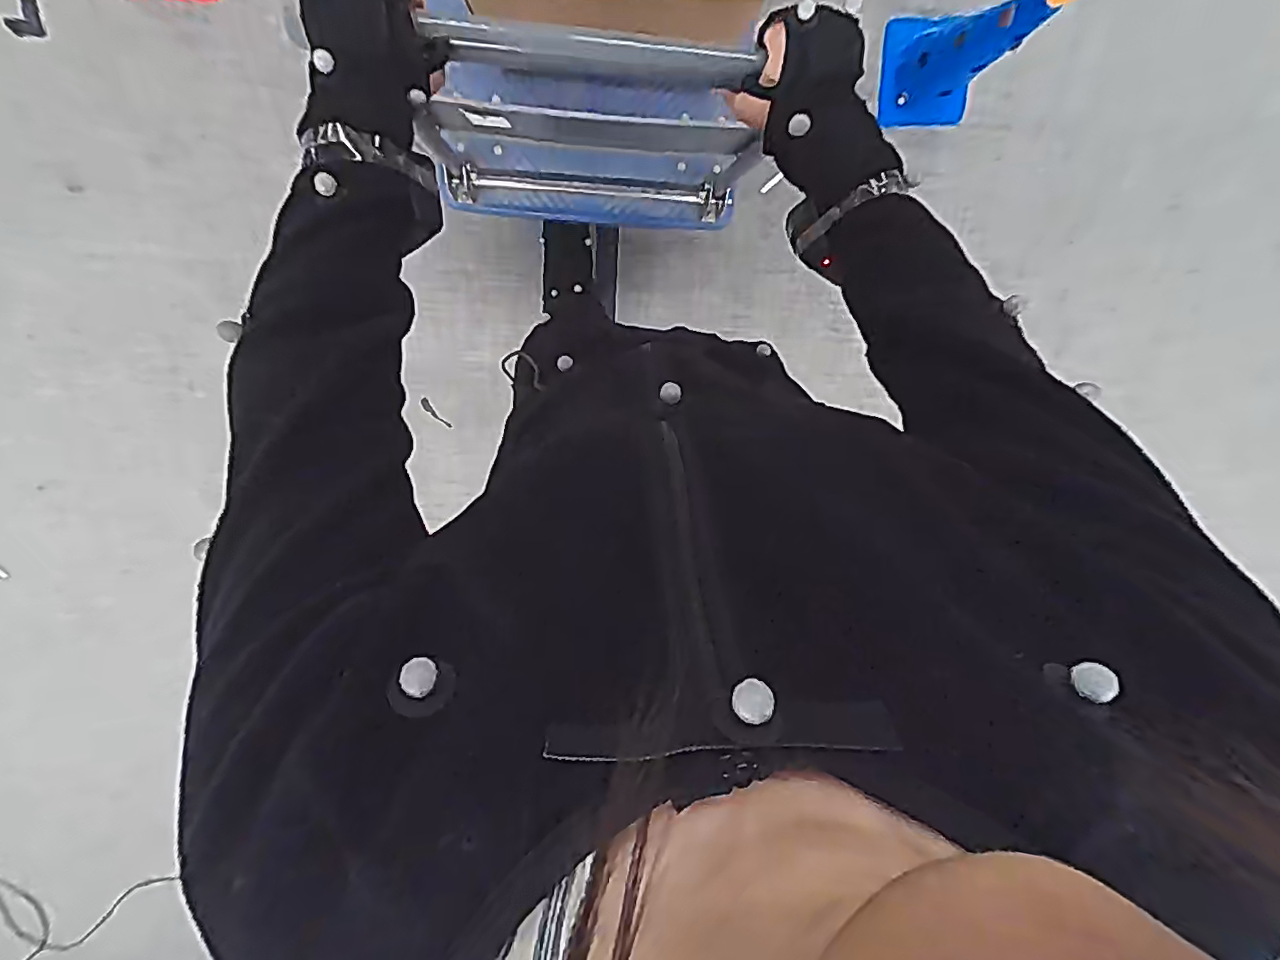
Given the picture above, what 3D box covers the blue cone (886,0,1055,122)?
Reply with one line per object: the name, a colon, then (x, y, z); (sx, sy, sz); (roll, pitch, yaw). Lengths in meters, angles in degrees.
blue cone: (0.644, -0.834, 1.023); (0.193, 0.380, 0.192); (-3, 111, -4)
